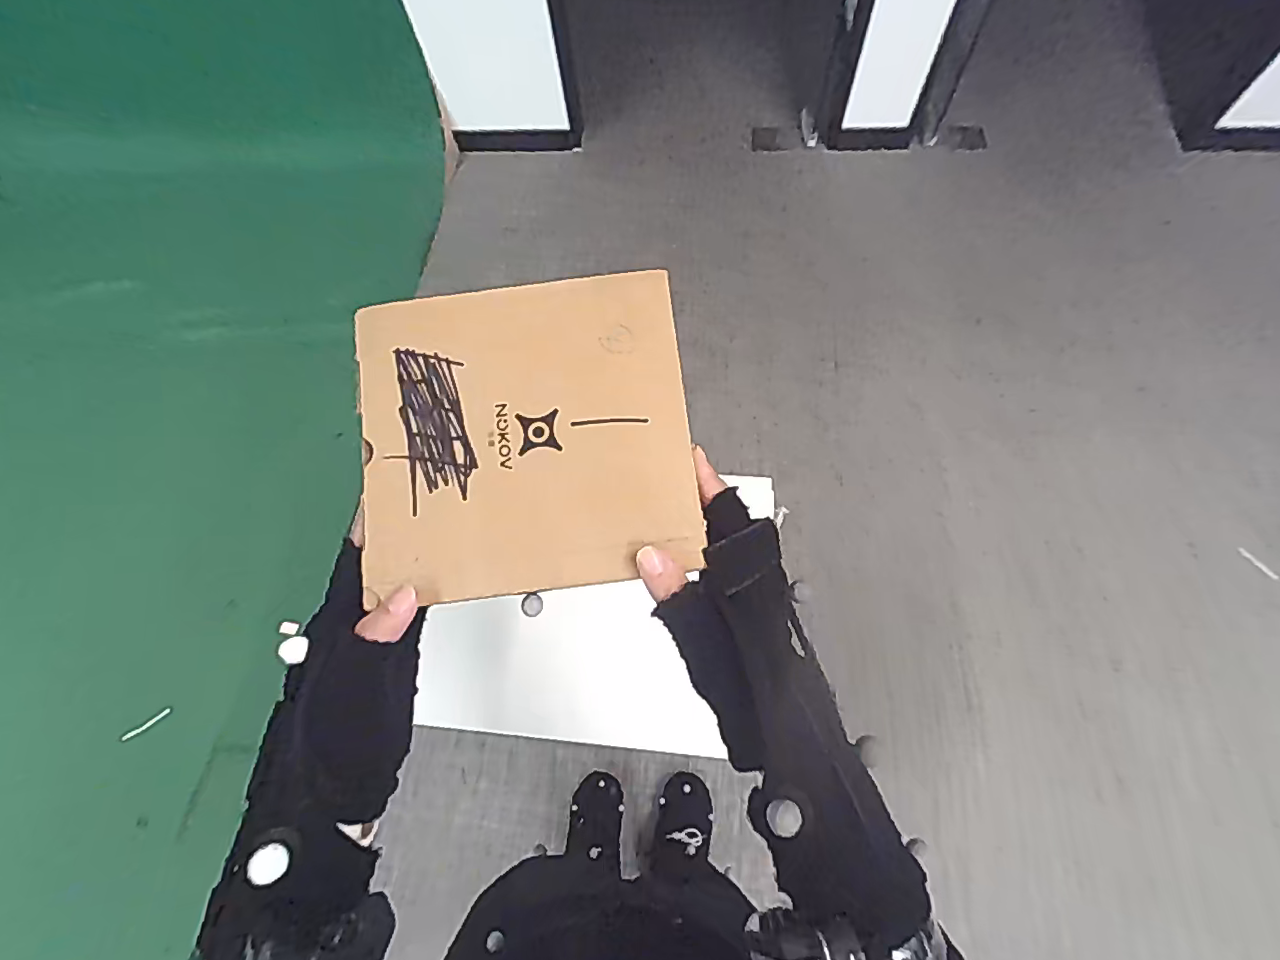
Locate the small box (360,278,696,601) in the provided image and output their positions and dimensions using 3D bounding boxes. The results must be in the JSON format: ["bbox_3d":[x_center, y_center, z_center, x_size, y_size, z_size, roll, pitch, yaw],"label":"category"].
[{"bbox_3d":[-0.062,-0.010,0.370,0.179,0.176,0.168,-7,80,0],"label":"small box"}]
